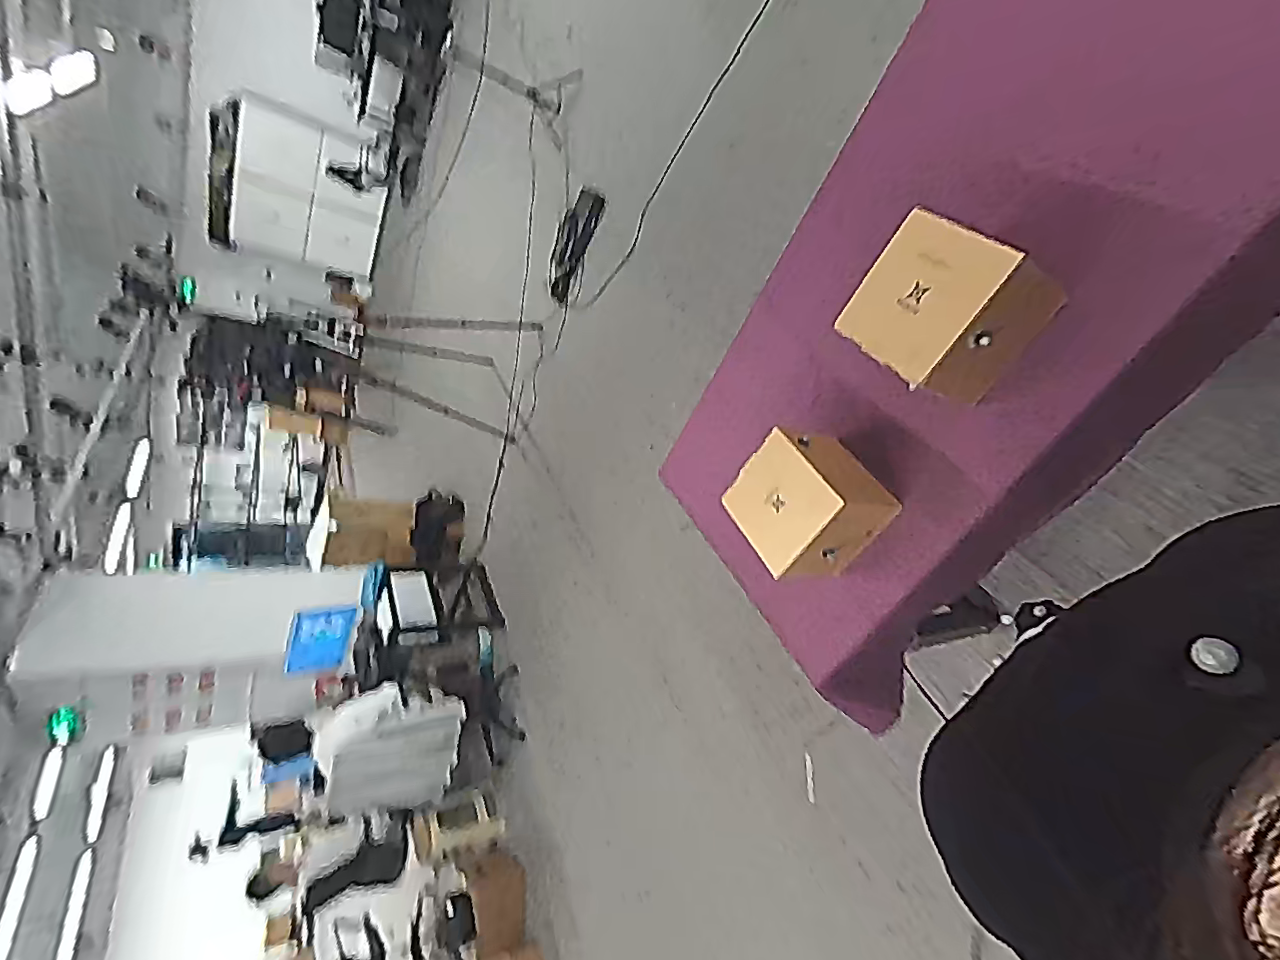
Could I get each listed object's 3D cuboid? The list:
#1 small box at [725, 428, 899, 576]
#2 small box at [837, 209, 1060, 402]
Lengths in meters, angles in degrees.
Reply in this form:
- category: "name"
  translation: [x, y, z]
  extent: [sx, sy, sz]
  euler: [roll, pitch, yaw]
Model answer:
- category: "small box"
  translation: [0.280, 0.038, 0.887]
  extent: [0.168, 0.176, 0.179]
  euler: [-58, 42, 30]
- category: "small box"
  translation: [0.419, -0.228, 0.740]
  extent: [0.179, 0.176, 0.168]
  euler: [-59, 43, 28]
